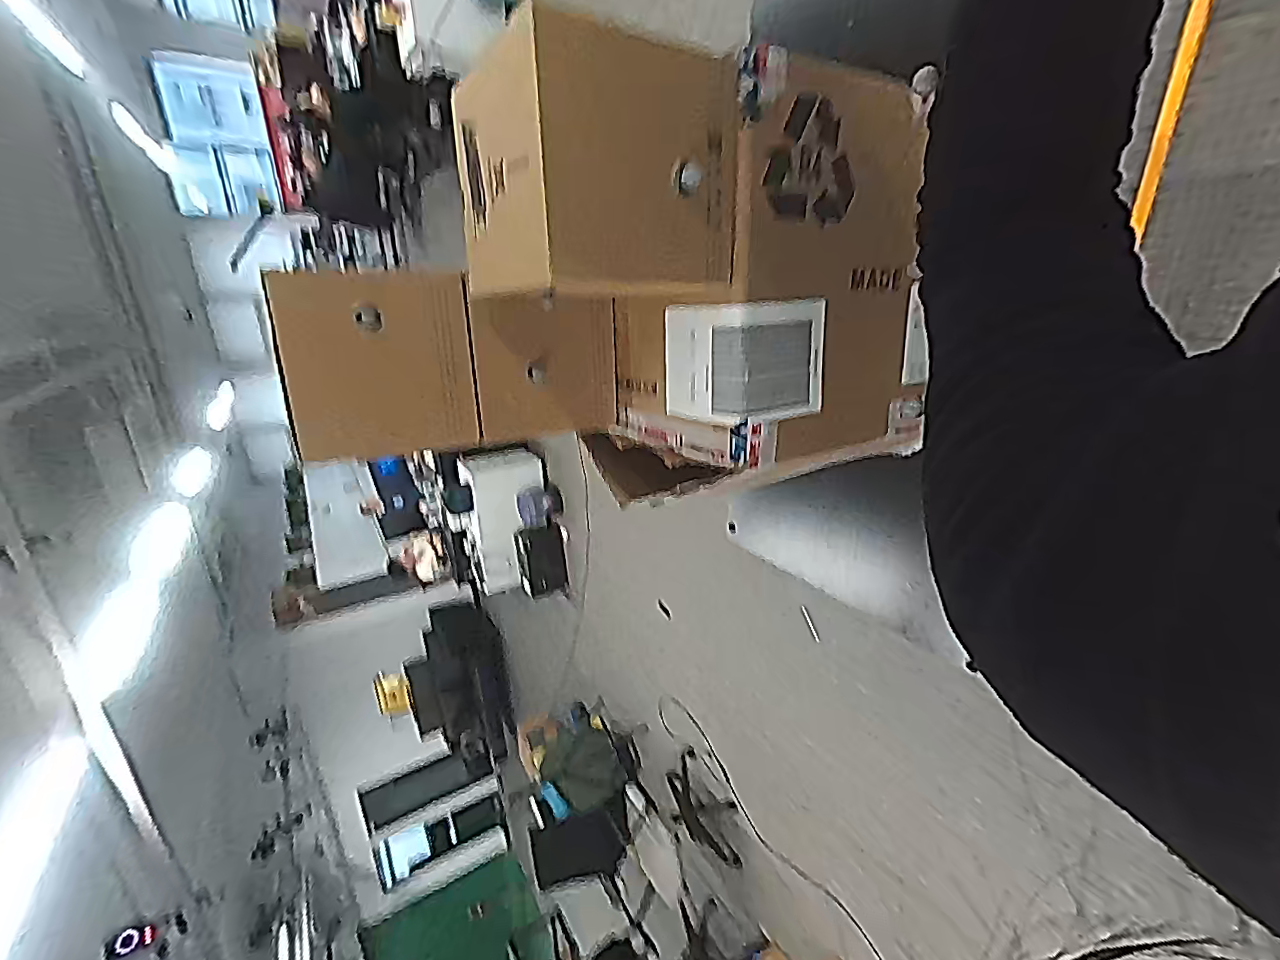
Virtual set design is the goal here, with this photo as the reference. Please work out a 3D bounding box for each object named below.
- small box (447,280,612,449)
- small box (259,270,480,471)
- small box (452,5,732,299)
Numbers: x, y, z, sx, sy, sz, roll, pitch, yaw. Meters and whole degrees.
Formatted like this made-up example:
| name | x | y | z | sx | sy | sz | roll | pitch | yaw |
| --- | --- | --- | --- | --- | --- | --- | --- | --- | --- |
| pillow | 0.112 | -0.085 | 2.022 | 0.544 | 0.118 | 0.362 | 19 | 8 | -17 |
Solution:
| name | x | y | z | sx | sy | sz | roll | pitch | yaw |
| --- | --- | --- | --- | --- | --- | --- | --- | --- | --- |
| small box | -0.142 | -0.149 | 0.658 | 0.168 | 0.176 | 0.179 | 24 | 121 | 56 |
| small box | -0.281 | -0.120 | 0.577 | 0.168 | 0.176 | 0.179 | 22 | 119 | 59 |
| small box | -0.045 | -0.243 | 0.458 | 0.179 | 0.176 | 0.168 | 22 | 119 | 54 |
